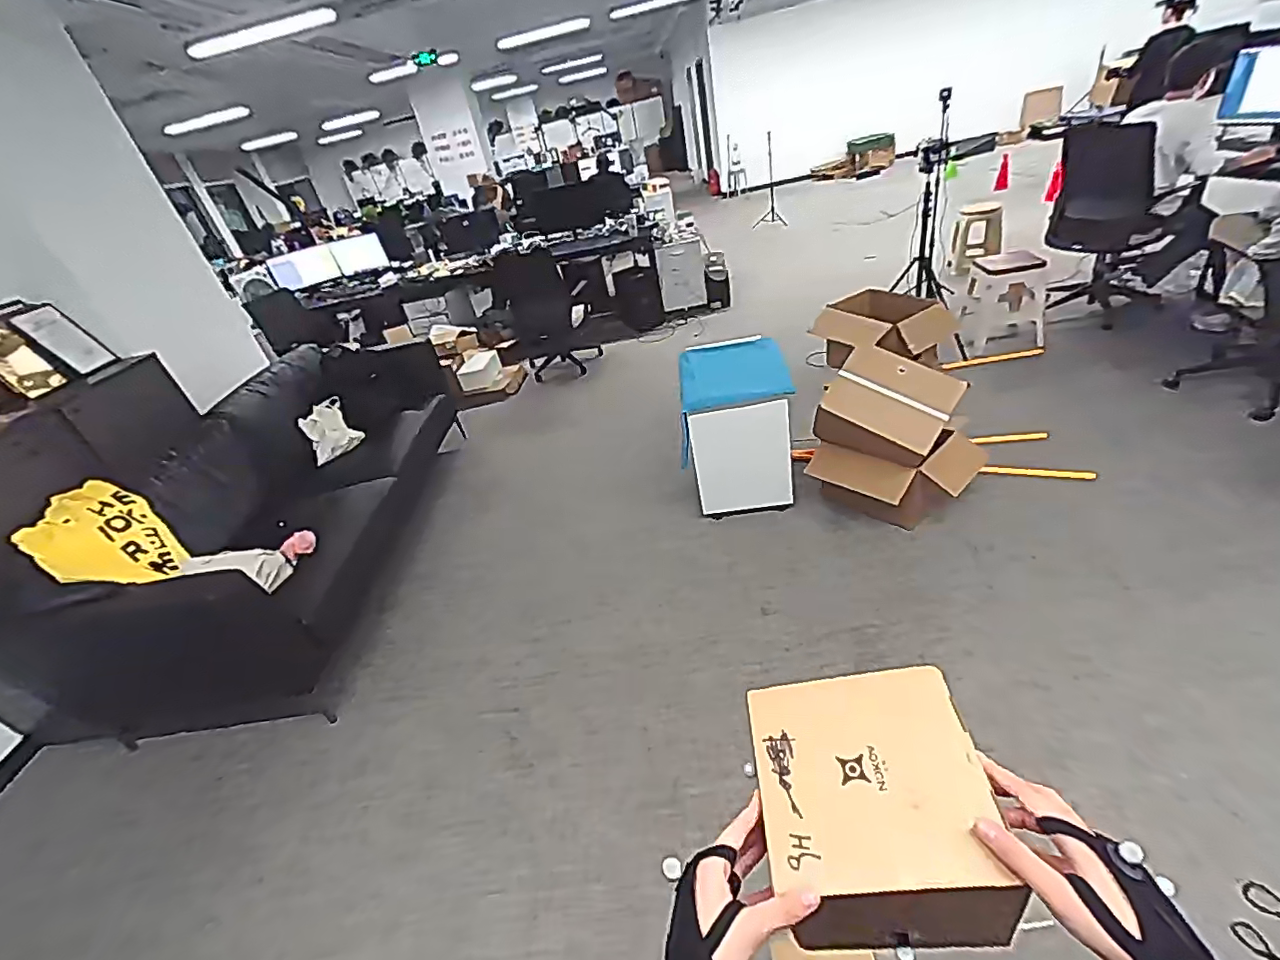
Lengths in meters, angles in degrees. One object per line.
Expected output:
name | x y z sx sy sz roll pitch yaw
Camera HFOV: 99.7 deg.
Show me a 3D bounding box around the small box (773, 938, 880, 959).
small box | 0.336 0.913 0.914 0.179 0.176 0.168 -11 34 5
